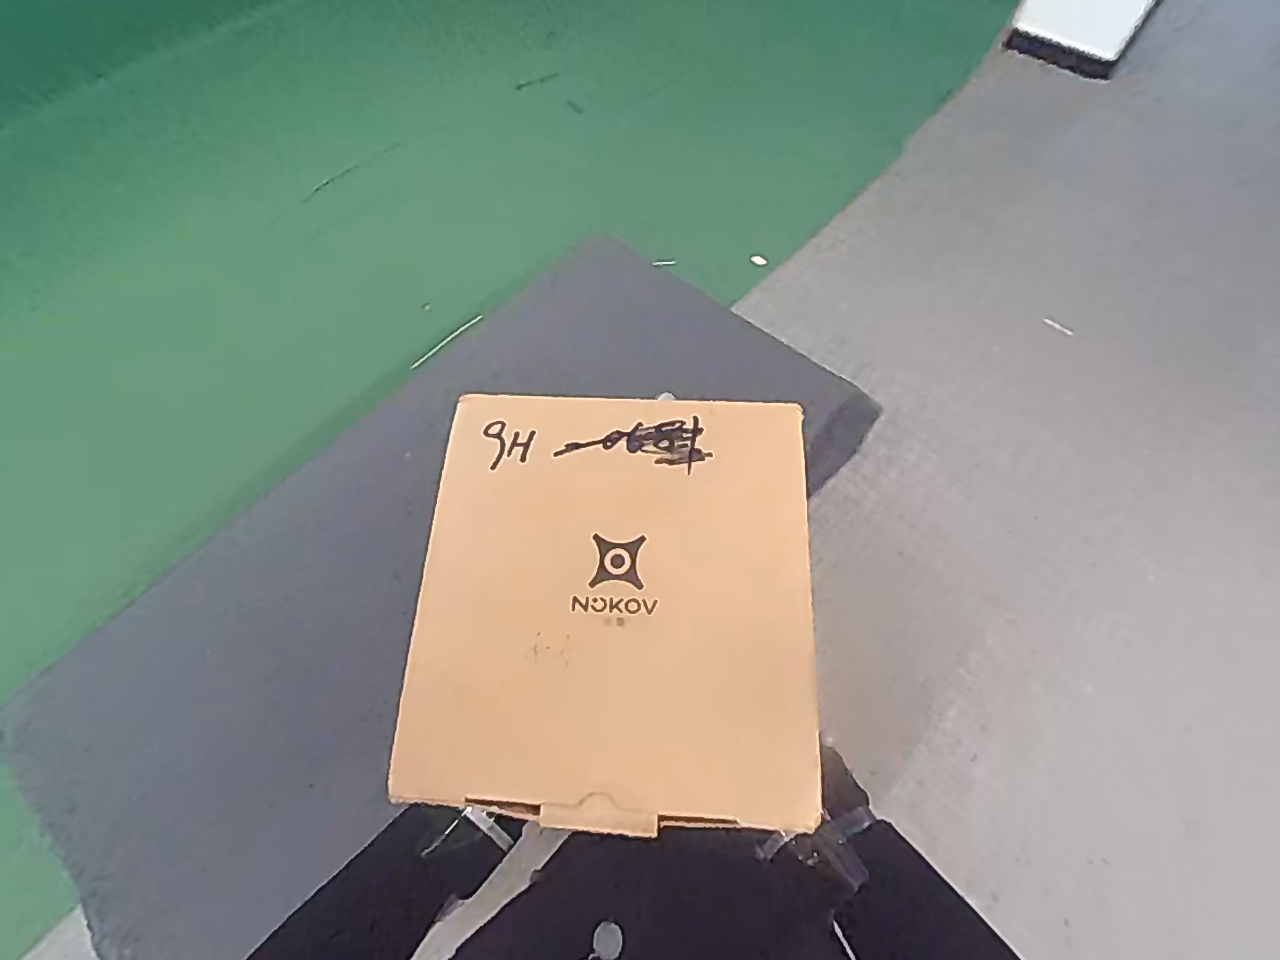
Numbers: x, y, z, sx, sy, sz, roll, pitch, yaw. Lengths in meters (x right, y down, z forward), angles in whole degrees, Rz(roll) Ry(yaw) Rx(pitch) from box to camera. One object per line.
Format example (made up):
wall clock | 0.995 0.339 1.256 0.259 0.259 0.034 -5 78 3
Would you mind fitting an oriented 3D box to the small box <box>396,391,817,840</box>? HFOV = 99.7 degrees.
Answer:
small box | -0.004 0.067 0.303 0.168 0.176 0.179 3 73 4
